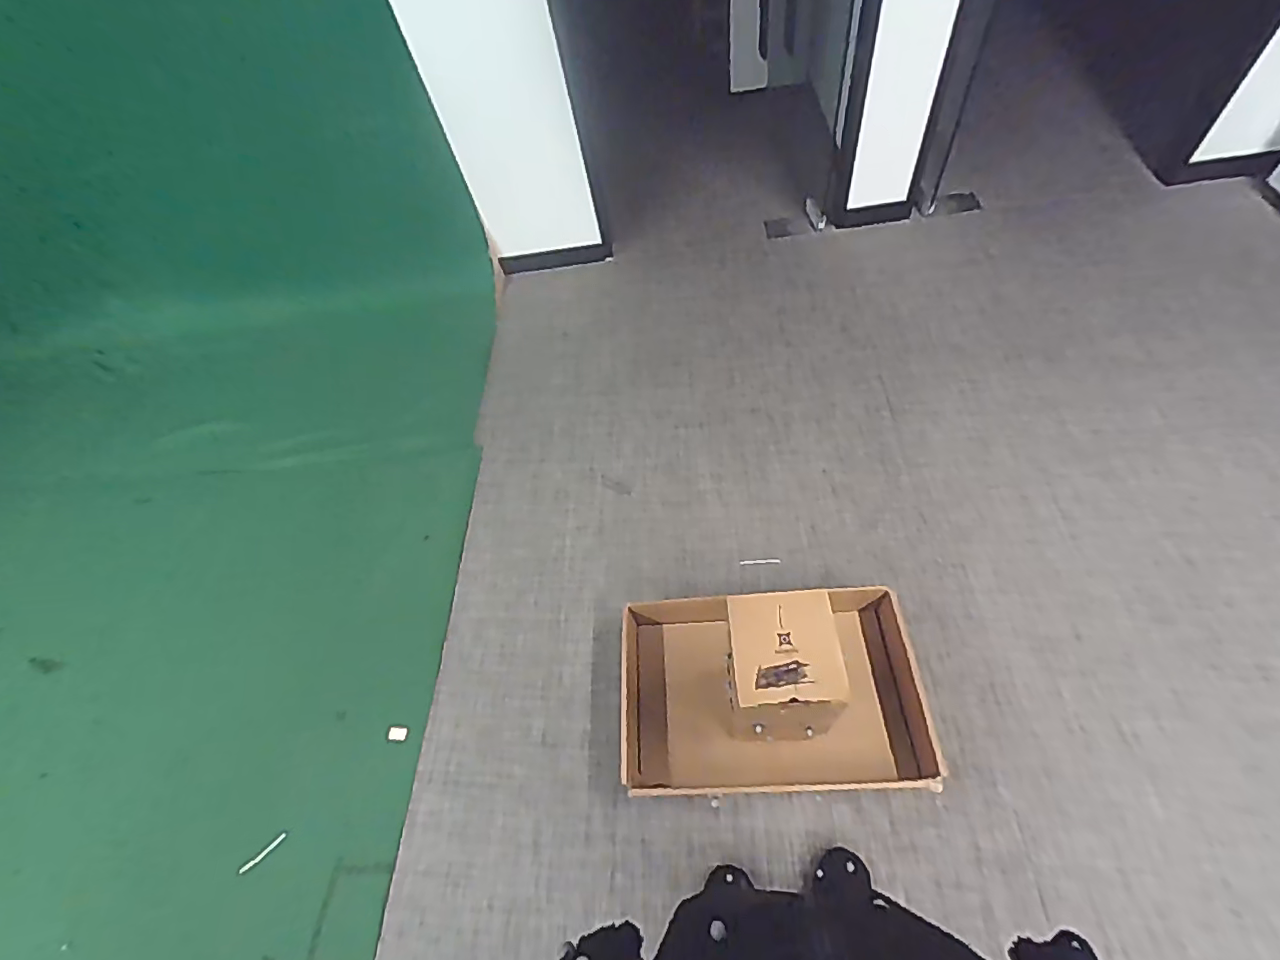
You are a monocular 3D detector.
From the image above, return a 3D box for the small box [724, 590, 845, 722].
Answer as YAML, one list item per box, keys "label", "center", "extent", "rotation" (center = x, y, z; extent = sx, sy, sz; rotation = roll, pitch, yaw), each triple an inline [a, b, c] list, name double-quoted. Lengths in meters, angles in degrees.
- label: "small box"
  center: [0.235, 0.304, 0.912]
  extent: [0.168, 0.176, 0.179]
  rotation: [-5, 55, 7]

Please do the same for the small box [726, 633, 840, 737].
- label: "small box"
  center: [0.261, 0.385, 1.033]
  extent: [0.179, 0.176, 0.168]
  rotation: [-8, 56, 5]

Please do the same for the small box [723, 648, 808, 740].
- label: "small box"
  center: [0.284, 0.469, 1.193]
  extent: [0.179, 0.176, 0.168]
  rotation: [-7, 55, 6]
